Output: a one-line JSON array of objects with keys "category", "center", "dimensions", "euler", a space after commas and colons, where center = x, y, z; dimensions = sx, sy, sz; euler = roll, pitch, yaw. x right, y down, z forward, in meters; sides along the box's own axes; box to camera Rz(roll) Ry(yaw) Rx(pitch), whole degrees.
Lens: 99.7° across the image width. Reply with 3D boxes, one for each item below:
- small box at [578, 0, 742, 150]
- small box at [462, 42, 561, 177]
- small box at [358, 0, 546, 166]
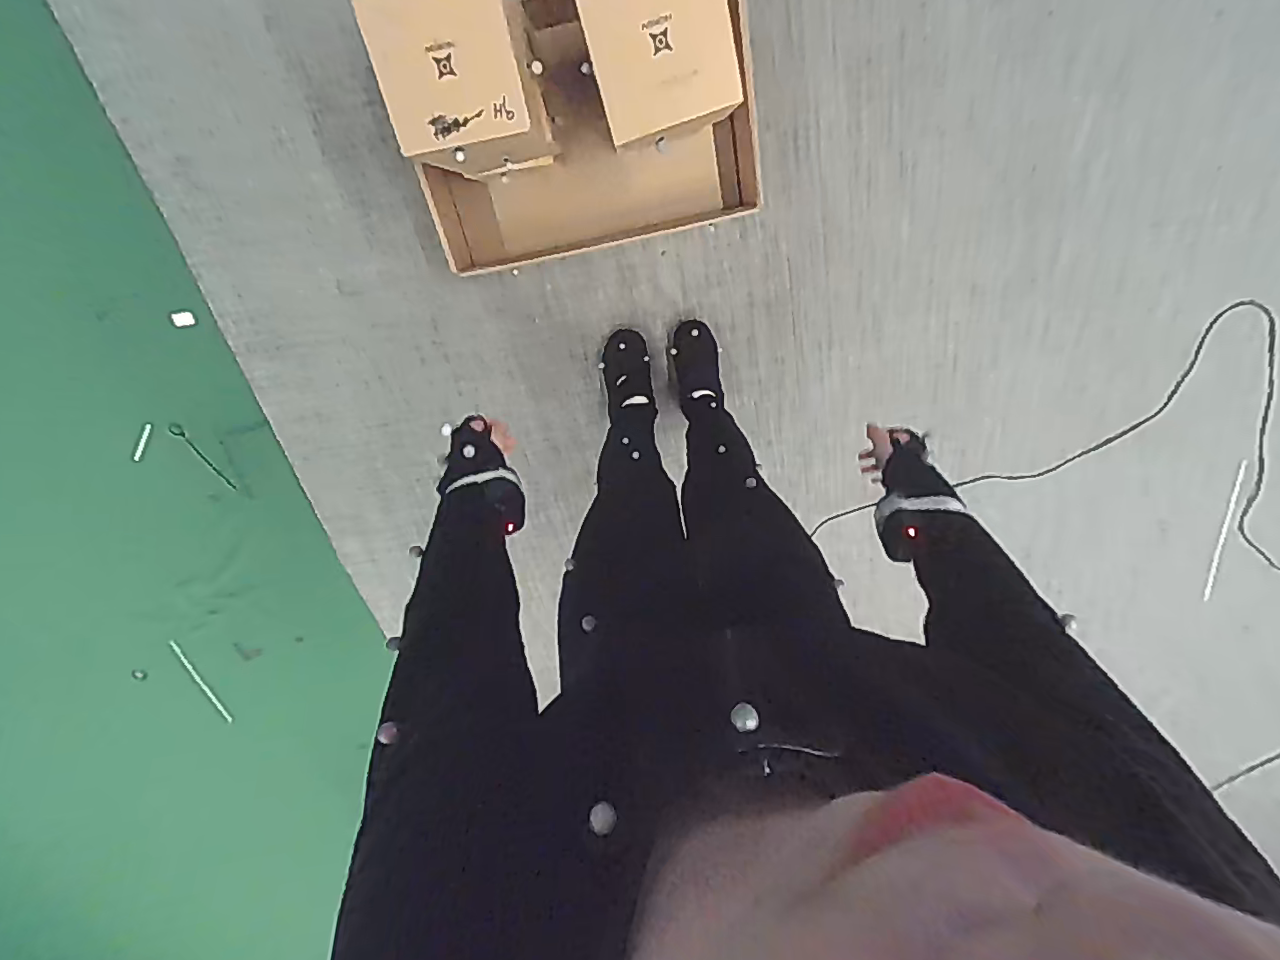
[{"category": "small box", "center": [0.022, -0.547, 0.691], "dimensions": [0.168, 0.176, 0.179], "euler": [-14, 118, 7]}, {"category": "small box", "center": [-0.246, -0.666, 0.993], "dimensions": [0.168, 0.176, 0.179], "euler": [-8, 116, 2]}, {"category": "small box", "center": [-0.227, -0.524, 0.696], "dimensions": [0.168, 0.176, 0.179], "euler": [-9, 116, 3]}]
